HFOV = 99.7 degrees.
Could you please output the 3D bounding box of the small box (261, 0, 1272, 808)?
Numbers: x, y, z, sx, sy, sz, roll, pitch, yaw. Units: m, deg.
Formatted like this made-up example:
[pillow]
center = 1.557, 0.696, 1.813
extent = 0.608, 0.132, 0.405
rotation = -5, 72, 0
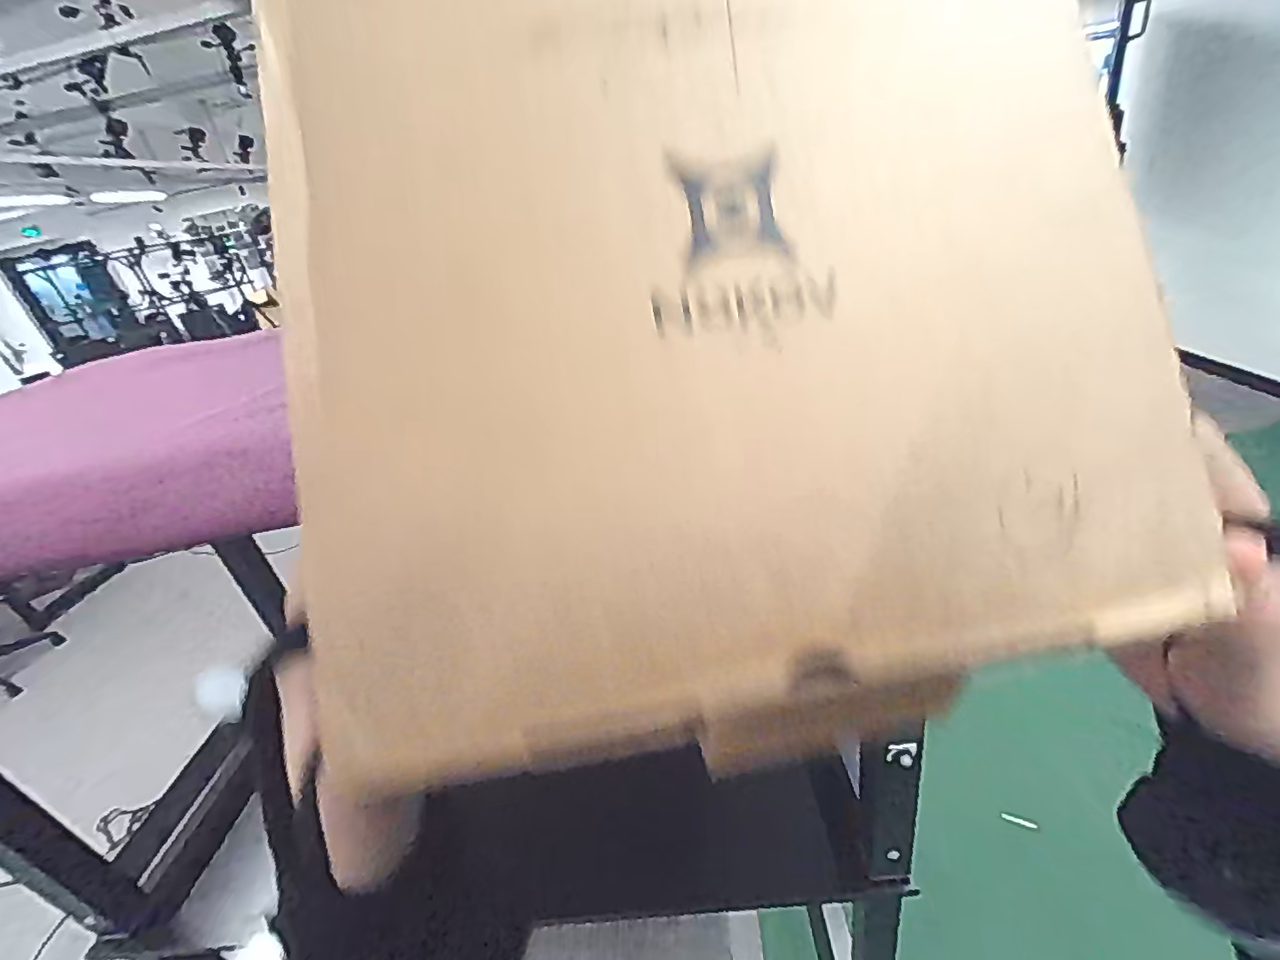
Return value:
[small box]
center = 0.014, -0.036, 0.178
extent = 0.168, 0.179, 0.176
rotation = -9, -7, -7
